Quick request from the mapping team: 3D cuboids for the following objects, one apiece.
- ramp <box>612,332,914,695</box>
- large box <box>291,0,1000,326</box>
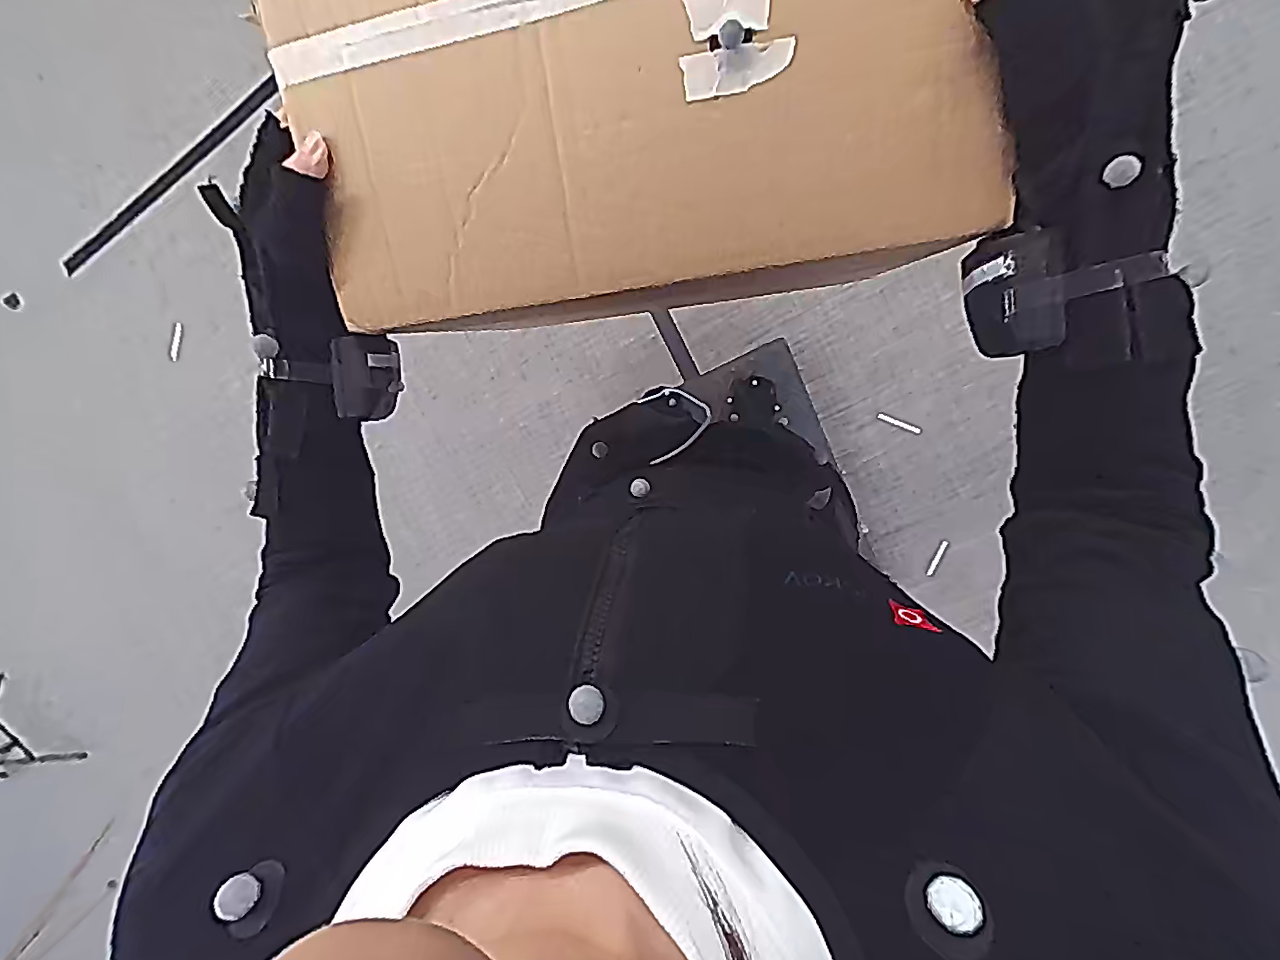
[{"bbox_3d":[0.365,0.151,1.504,0.509,0.206,0.991,-26,95,13],"label":"ramp"},{"bbox_3d":[0.007,-0.314,0.443,0.408,0.320,0.320,-5,106,11],"label":"large box"}]
